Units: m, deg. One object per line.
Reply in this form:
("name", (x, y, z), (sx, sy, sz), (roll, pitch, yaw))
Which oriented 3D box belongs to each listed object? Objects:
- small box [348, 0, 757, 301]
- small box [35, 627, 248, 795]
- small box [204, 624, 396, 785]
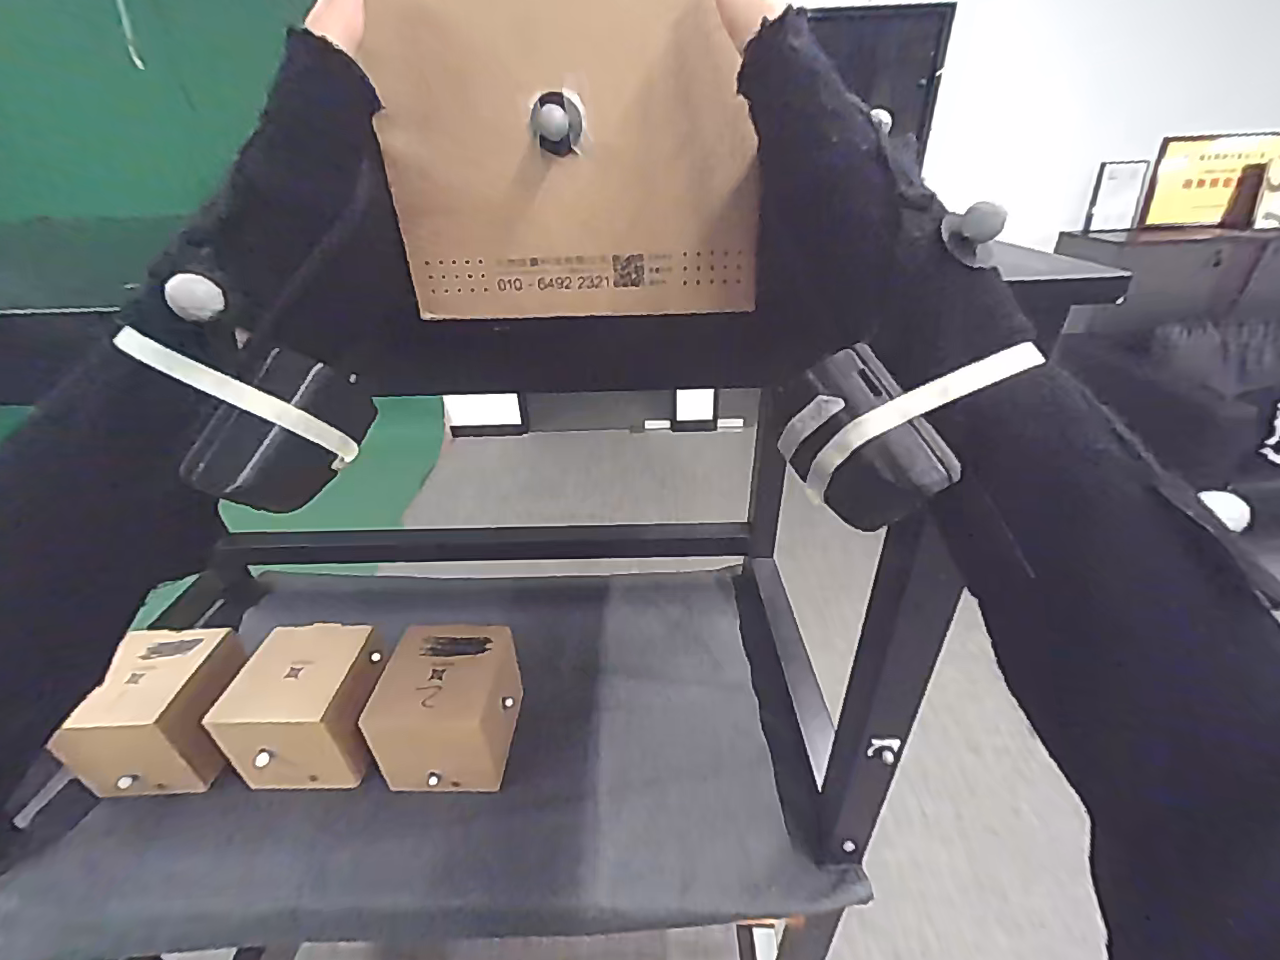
("small box", (-0.031, -0.200, 0.296), (0.168, 0.176, 0.179), (0, 31, 2))
("small box", (-0.731, 0.352, 0.836), (0.168, 0.176, 0.179), (-3, 31, -1))
("small box", (-0.504, 0.347, 0.837), (0.168, 0.176, 0.179), (-1, 31, 1))
